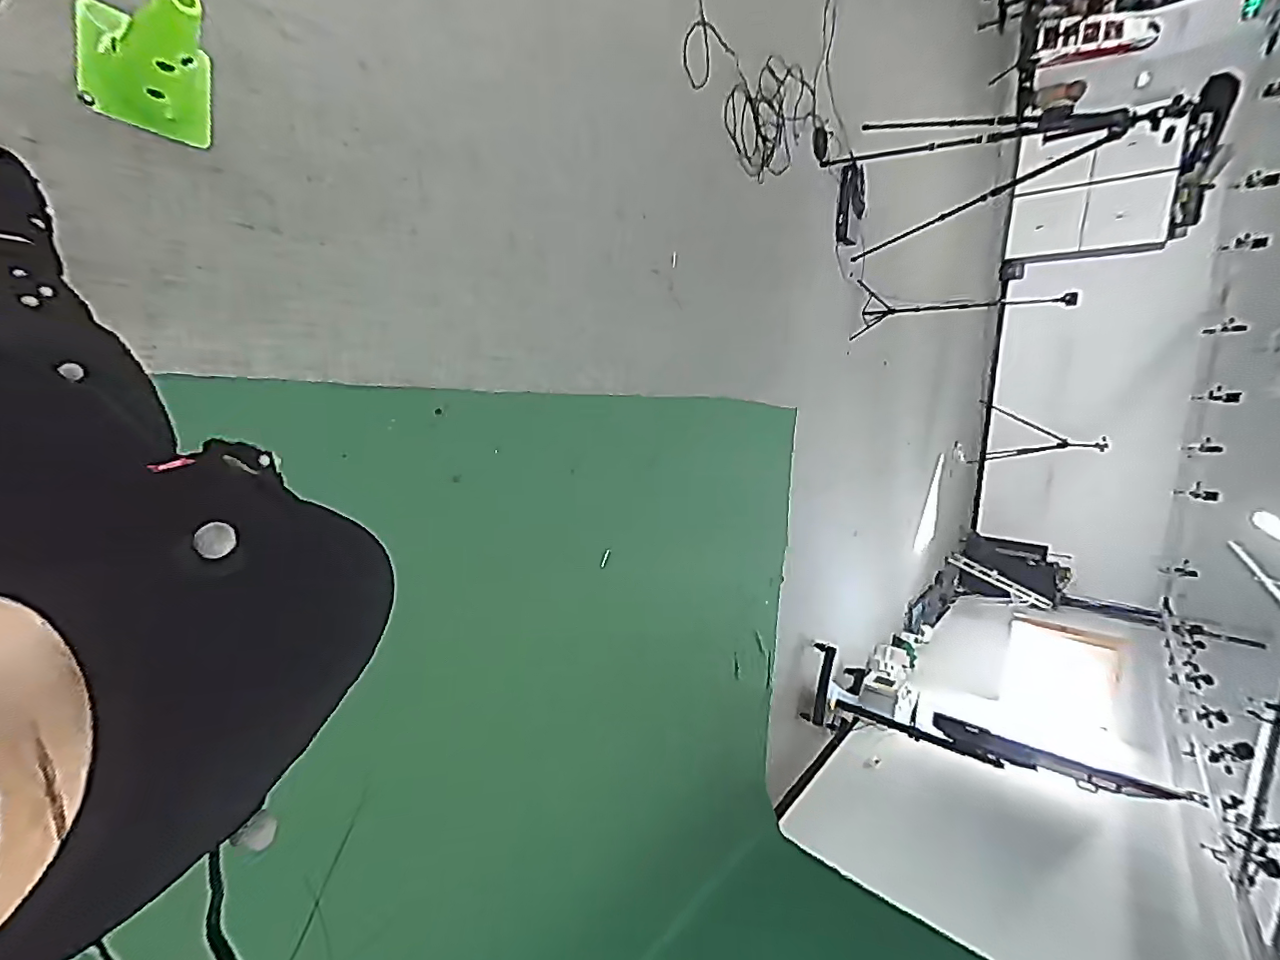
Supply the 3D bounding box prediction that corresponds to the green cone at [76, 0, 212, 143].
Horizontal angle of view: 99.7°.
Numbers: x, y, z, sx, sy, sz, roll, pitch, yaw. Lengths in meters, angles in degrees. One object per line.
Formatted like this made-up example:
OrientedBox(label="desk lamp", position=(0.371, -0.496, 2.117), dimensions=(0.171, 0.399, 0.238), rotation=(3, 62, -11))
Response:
OrientedBox(label="green cone", position=(-0.852, -0.793, 0.972), dimensions=(0.200, 0.368, 0.202), rotation=(-4, 99, -50))
